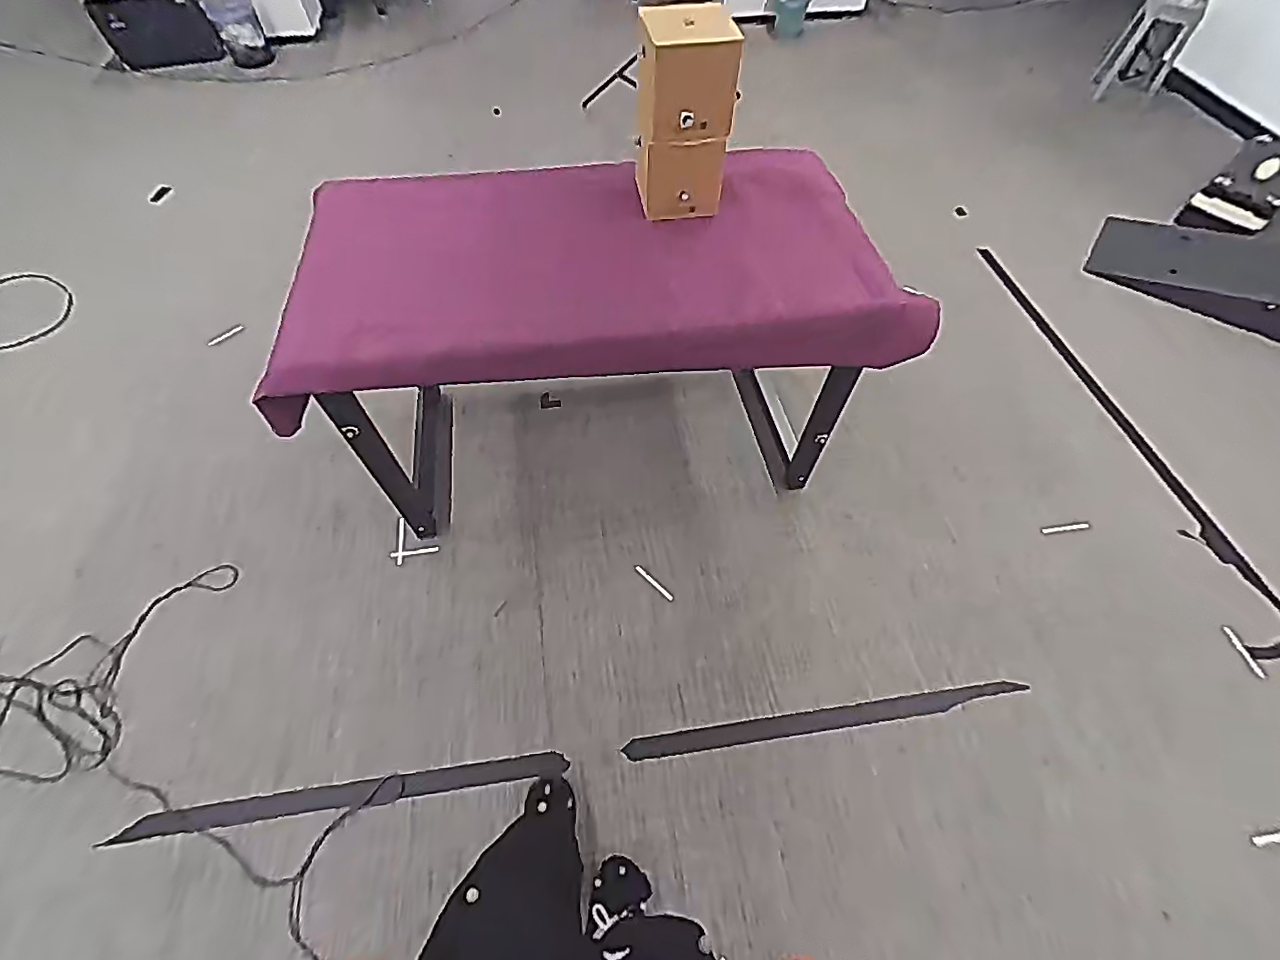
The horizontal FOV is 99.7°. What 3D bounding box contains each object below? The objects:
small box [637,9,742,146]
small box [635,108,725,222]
[{"bbox_3d":[0.088,-0.798,1.076,0.168,0.176,0.179,-10,60,-6],"label":"small box"},{"bbox_3d":[0.081,-0.706,1.210,0.168,0.176,0.179,-7,59,-5],"label":"small box"}]
